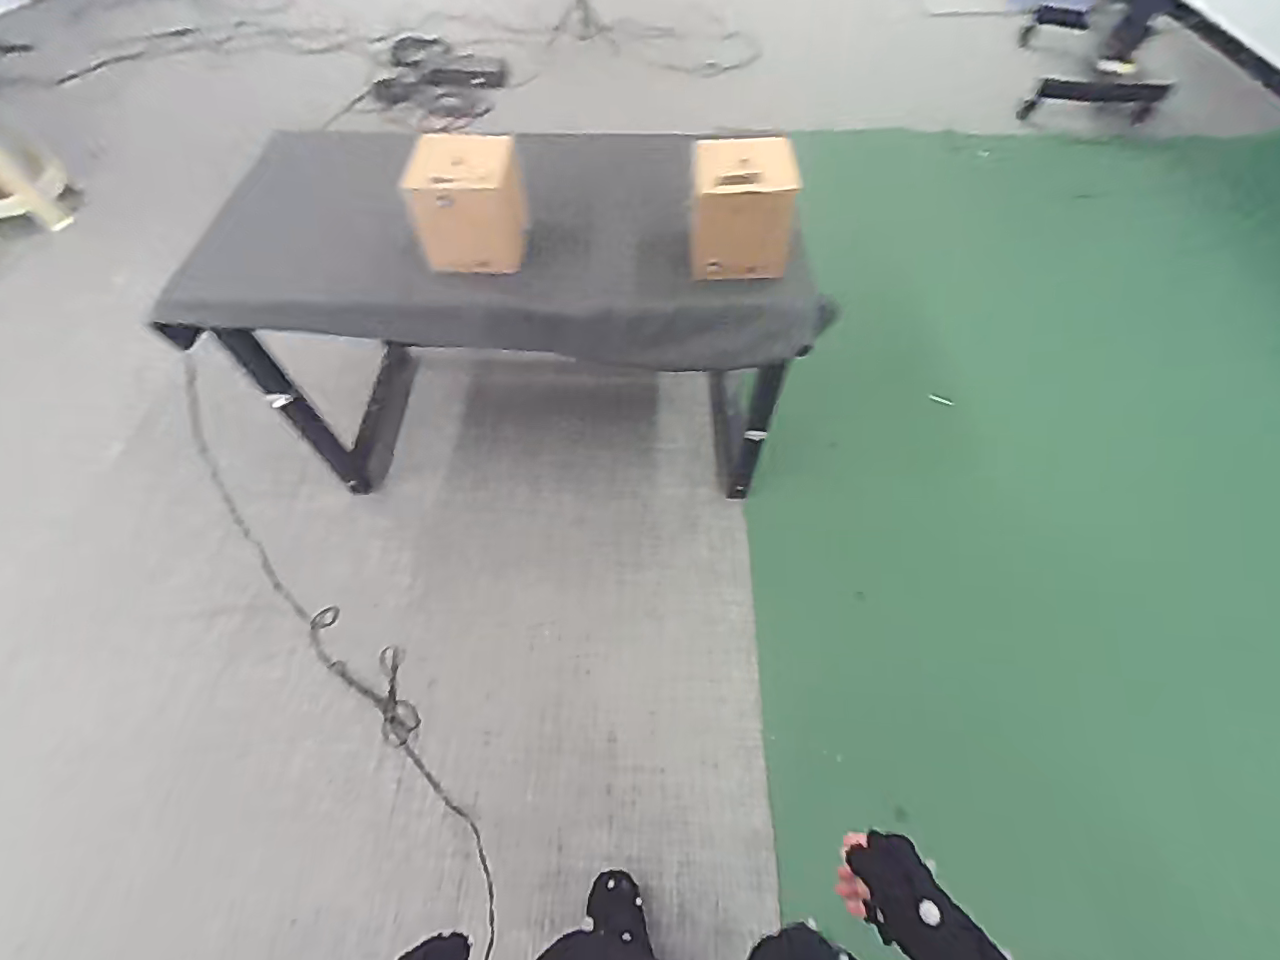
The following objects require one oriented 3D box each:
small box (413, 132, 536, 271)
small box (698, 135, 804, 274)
[{"bbox_3d":[-0.295,-0.517,1.009,0.168,0.176,0.179,1,57,1],"label":"small box"},{"bbox_3d":[0.195,-0.497,0.990,0.168,0.176,0.179,0,57,3],"label":"small box"}]
